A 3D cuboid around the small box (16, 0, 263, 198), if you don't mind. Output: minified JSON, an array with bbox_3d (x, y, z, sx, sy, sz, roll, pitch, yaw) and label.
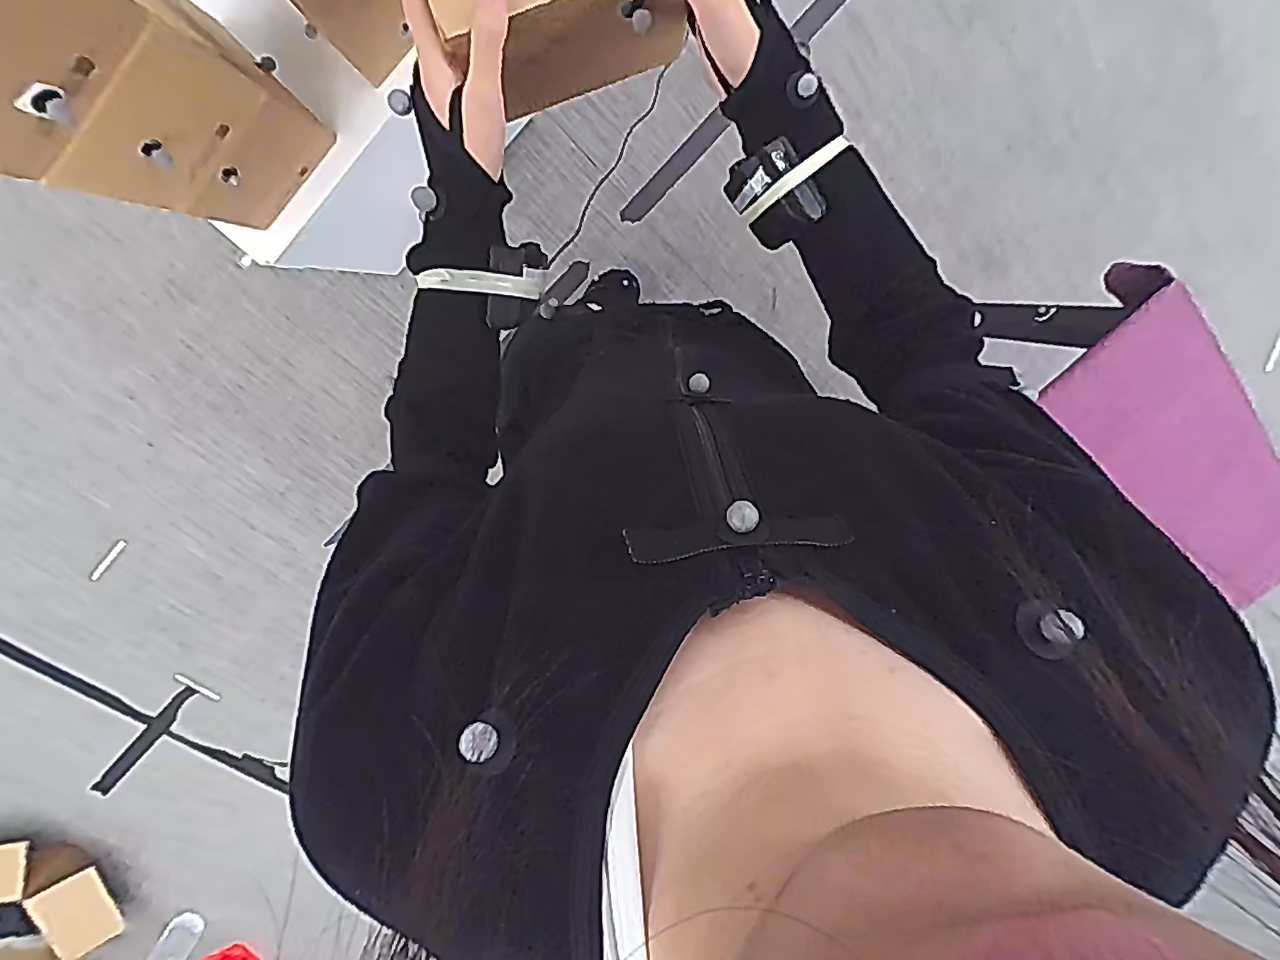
[{"bbox_3d":[-0.484,-0.374,0.468,0.179,0.176,0.168,42,100,-17],"label":"small box"}]

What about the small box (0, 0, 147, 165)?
[{"bbox_3d":[-0.468,-0.324,0.315,0.179,0.176,0.168,41,101,-18],"label":"small box"}]

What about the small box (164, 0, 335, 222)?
[{"bbox_3d":[-0.502,-0.427,0.621,0.168,0.176,0.179,-44,107,10],"label":"small box"}]

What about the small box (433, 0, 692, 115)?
[{"bbox_3d":[-0.064,-0.393,0.374,0.179,0.176,0.168,-18,108,4],"label":"small box"}]
